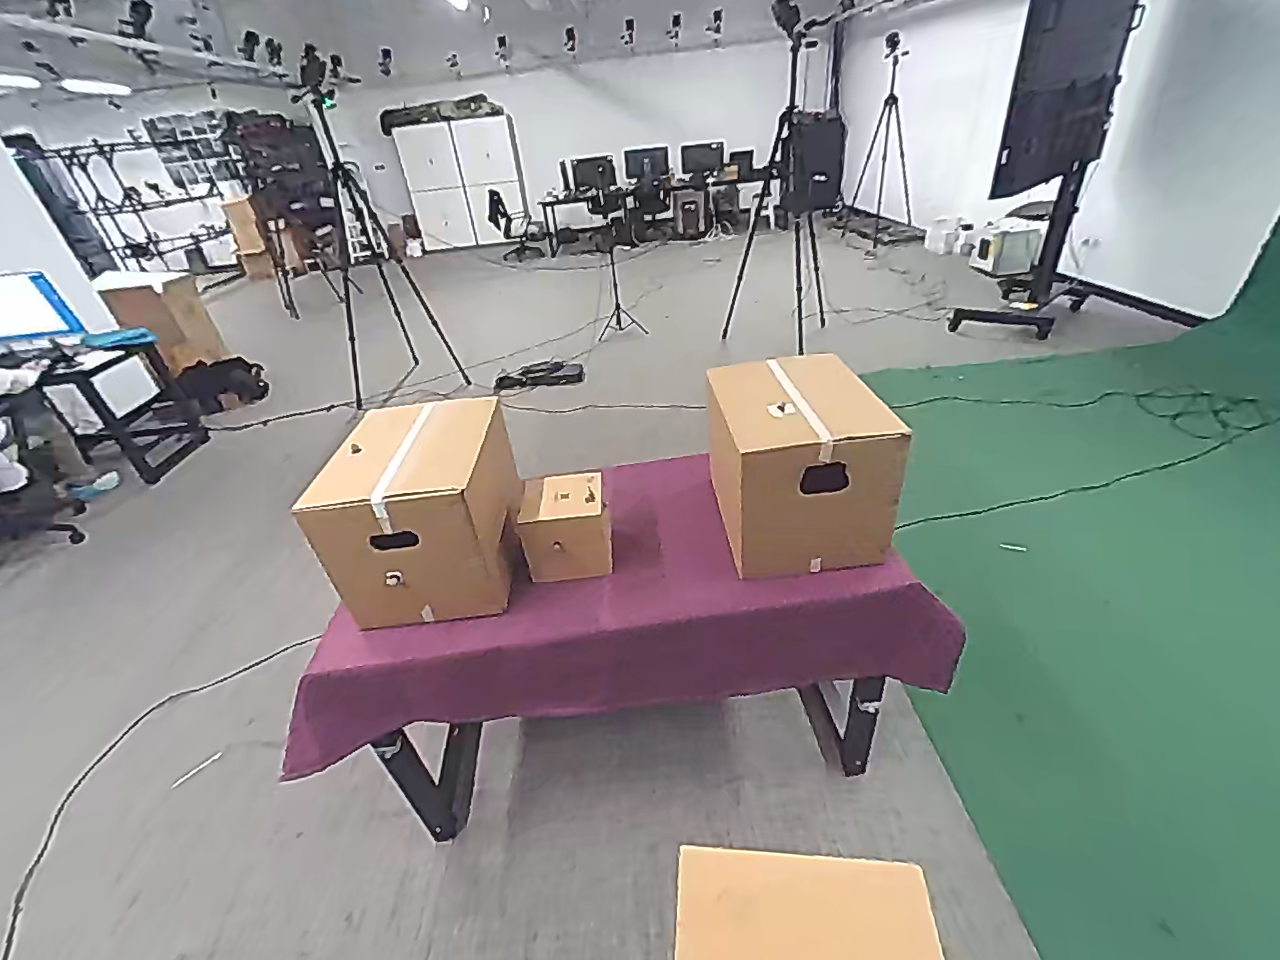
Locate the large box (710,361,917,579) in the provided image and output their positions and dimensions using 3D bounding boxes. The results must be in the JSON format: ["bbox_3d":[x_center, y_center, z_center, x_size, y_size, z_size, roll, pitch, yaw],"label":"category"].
[{"bbox_3d":[0.344,-0.038,1.212,0.320,0.320,0.408,-6,34,1],"label":"large box"}]
